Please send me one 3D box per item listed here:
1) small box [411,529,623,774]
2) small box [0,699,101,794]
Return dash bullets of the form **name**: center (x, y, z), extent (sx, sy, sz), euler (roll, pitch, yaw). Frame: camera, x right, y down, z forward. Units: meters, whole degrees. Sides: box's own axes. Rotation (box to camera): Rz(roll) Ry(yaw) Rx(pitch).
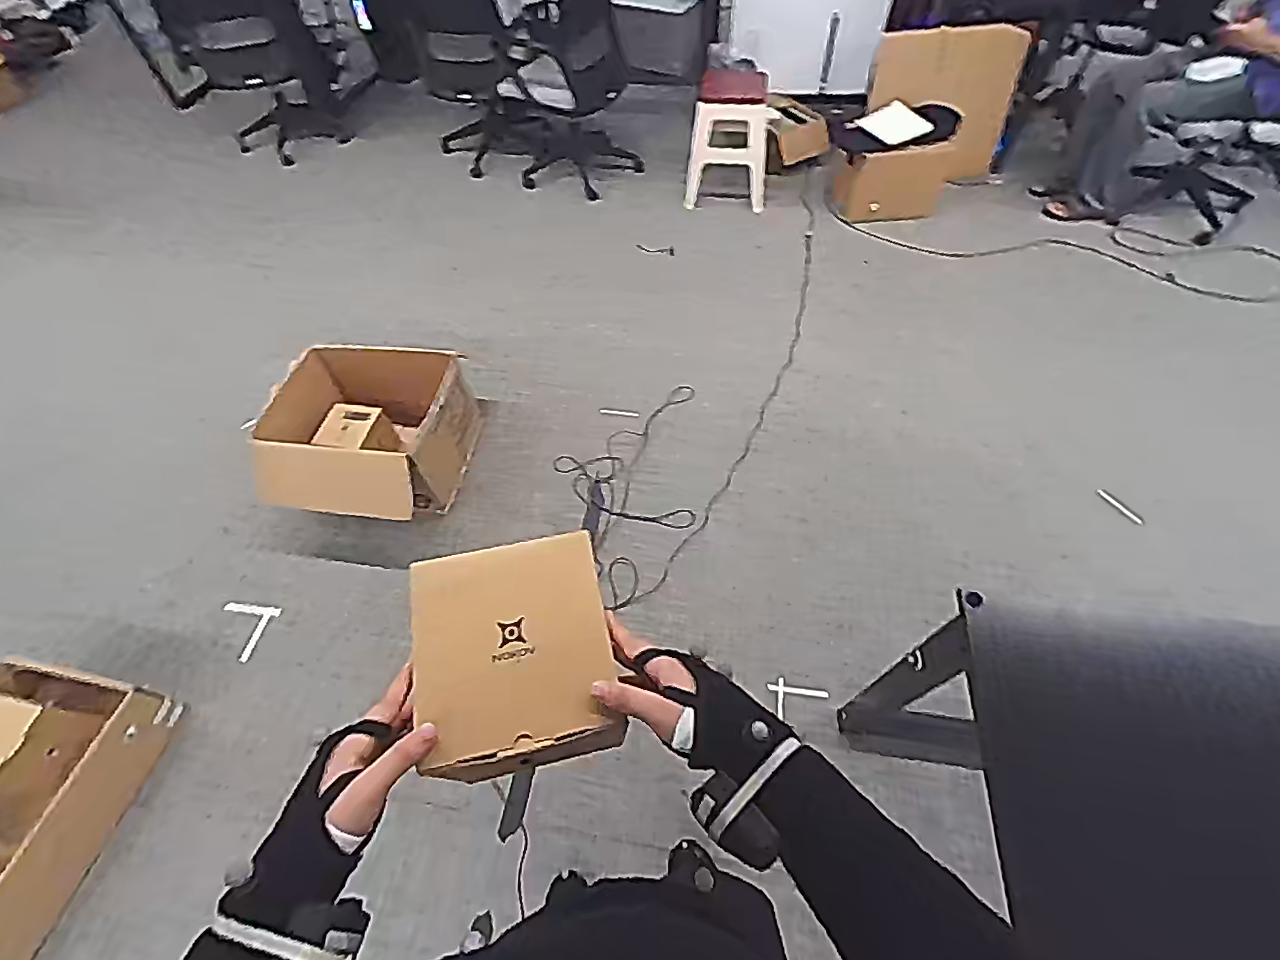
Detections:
- **small box**: center (-0.117, 0.173, 0.533), extent (0.168, 0.176, 0.179), euler (-11, 61, -9)
- **small box**: center (-1.457, 0.627, 1.272), extent (0.179, 0.176, 0.168), euler (11, 57, 7)
